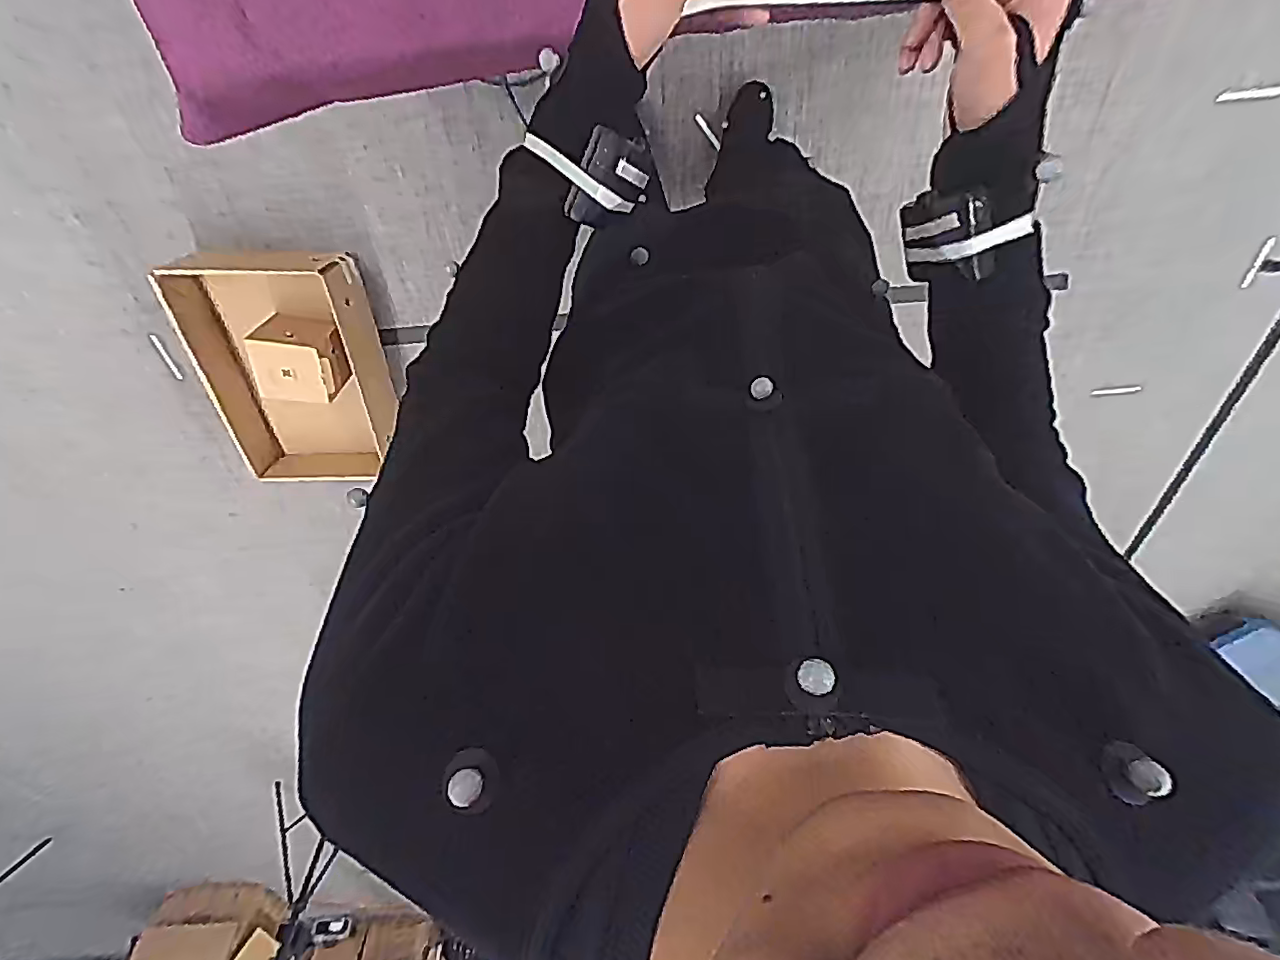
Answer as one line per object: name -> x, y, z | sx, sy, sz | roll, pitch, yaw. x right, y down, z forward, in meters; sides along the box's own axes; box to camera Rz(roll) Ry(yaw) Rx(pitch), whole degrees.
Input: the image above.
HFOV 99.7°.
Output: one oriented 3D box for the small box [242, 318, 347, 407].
small box -> -0.901, -0.315, 1.434 | 0.179, 0.176, 0.168 | 6, 128, -8
